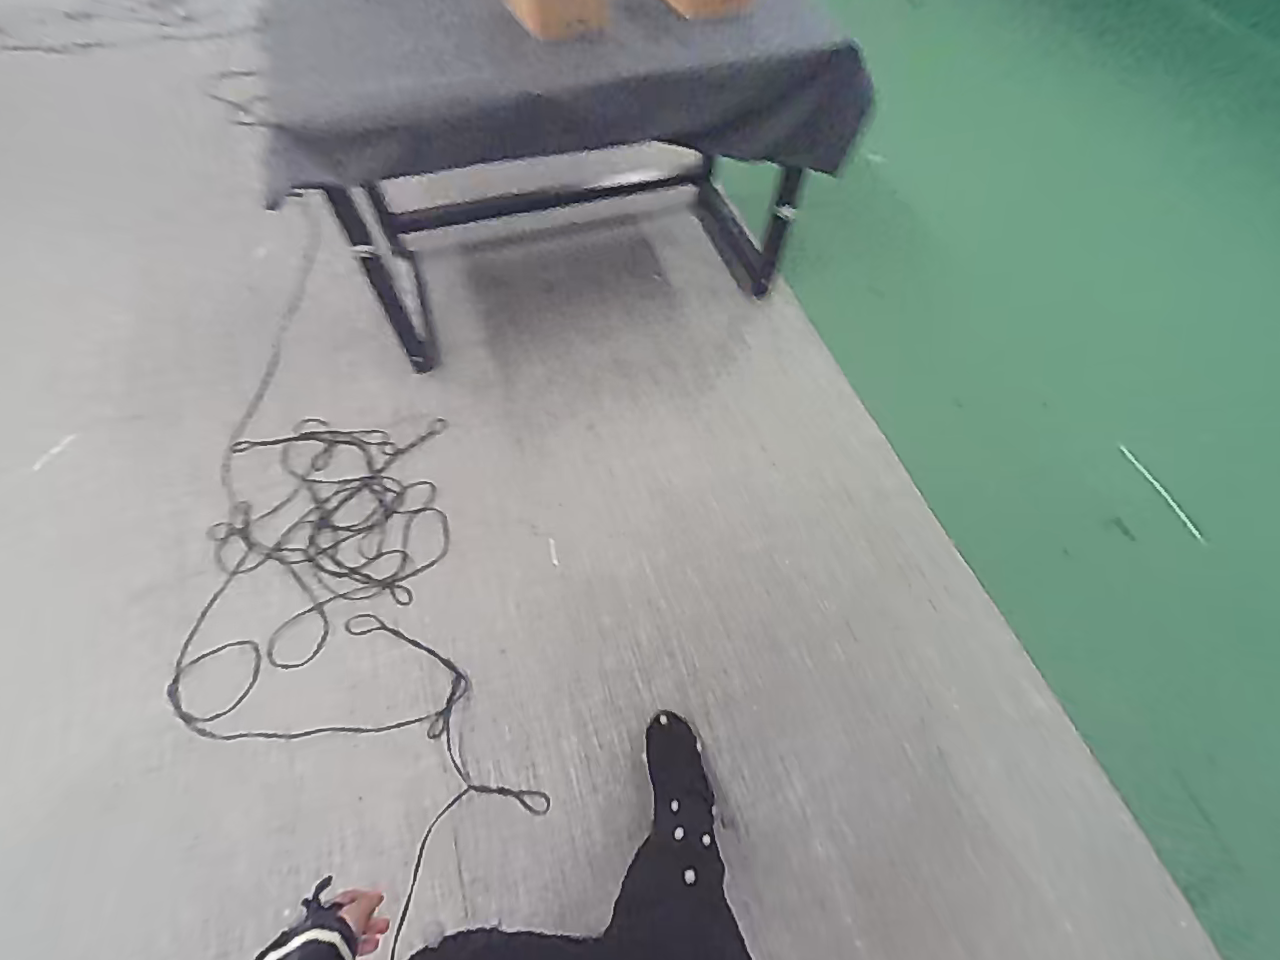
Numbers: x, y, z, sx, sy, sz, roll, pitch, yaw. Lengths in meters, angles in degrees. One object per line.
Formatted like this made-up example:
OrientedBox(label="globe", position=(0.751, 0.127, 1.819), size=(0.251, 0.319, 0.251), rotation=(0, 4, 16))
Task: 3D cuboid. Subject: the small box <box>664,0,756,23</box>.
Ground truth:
OrientedBox(label="small box", position=(0.161, -1.147, 1.199), size=(0.168, 0.176, 0.179), rotation=(-21, 62, -15))
